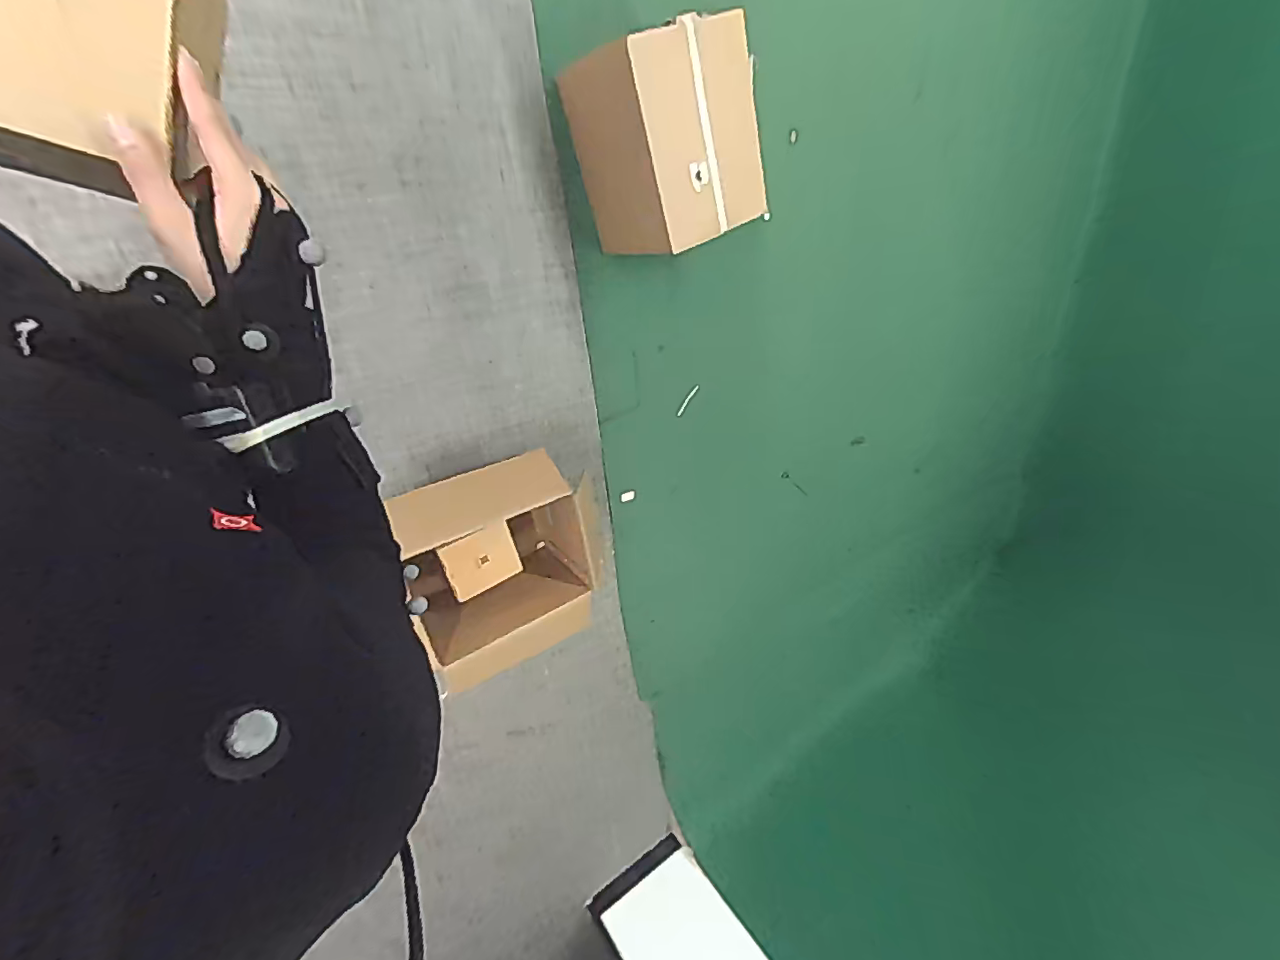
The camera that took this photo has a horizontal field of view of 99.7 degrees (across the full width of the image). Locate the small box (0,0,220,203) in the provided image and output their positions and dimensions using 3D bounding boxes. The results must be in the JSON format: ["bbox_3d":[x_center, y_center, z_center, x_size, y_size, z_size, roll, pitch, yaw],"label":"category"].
[{"bbox_3d":[-0.366,-0.280,0.310,0.179,0.176,0.168,5,102,-33],"label":"small box"}]
